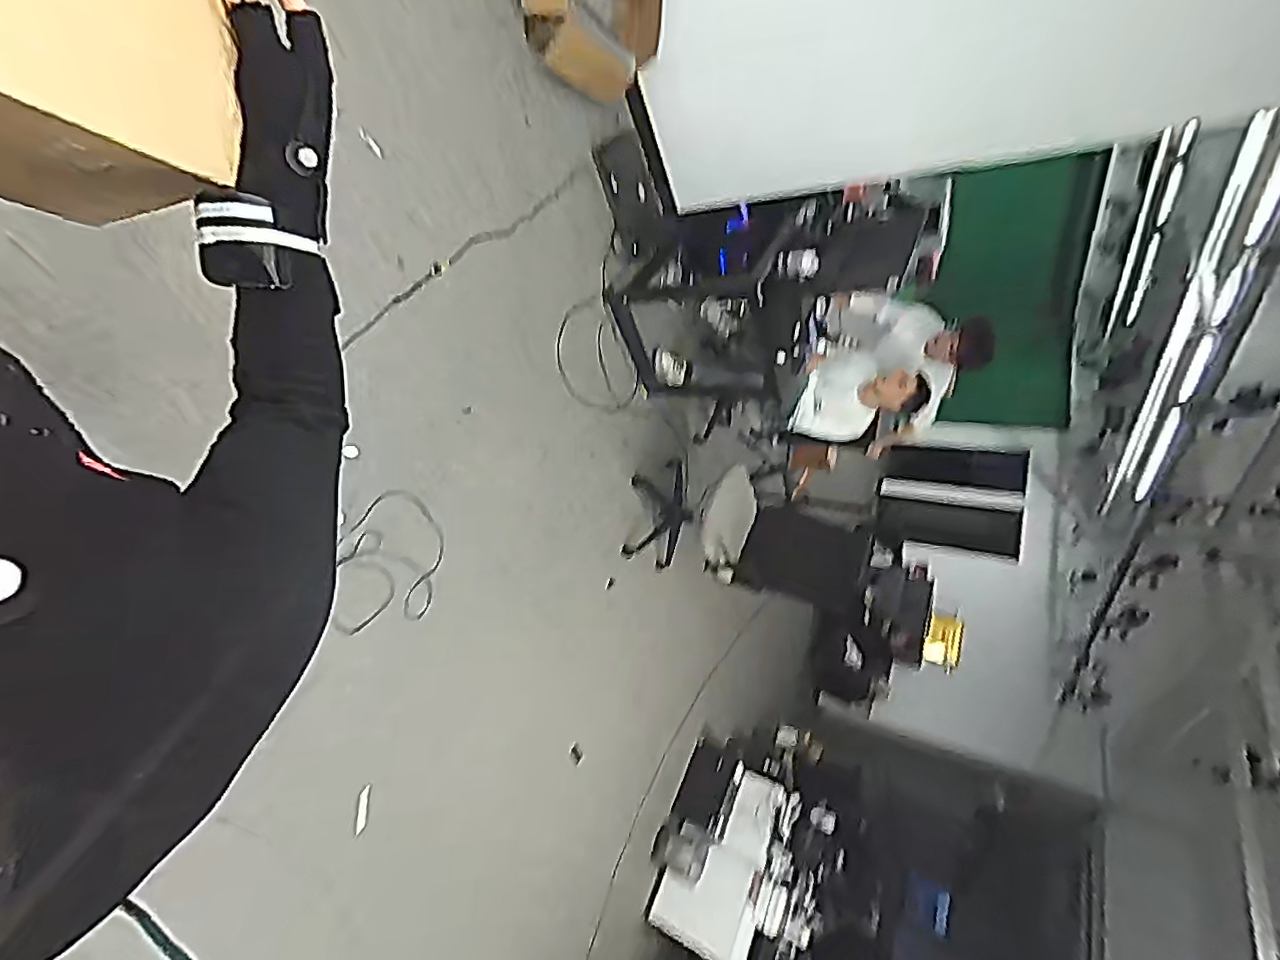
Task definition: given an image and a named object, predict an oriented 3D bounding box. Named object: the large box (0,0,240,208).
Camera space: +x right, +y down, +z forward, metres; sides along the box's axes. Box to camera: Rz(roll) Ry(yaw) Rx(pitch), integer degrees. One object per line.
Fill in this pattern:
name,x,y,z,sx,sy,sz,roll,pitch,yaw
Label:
large box,-0.524,-0.408,0.305,0.408,0.320,0.320,1,98,-60
